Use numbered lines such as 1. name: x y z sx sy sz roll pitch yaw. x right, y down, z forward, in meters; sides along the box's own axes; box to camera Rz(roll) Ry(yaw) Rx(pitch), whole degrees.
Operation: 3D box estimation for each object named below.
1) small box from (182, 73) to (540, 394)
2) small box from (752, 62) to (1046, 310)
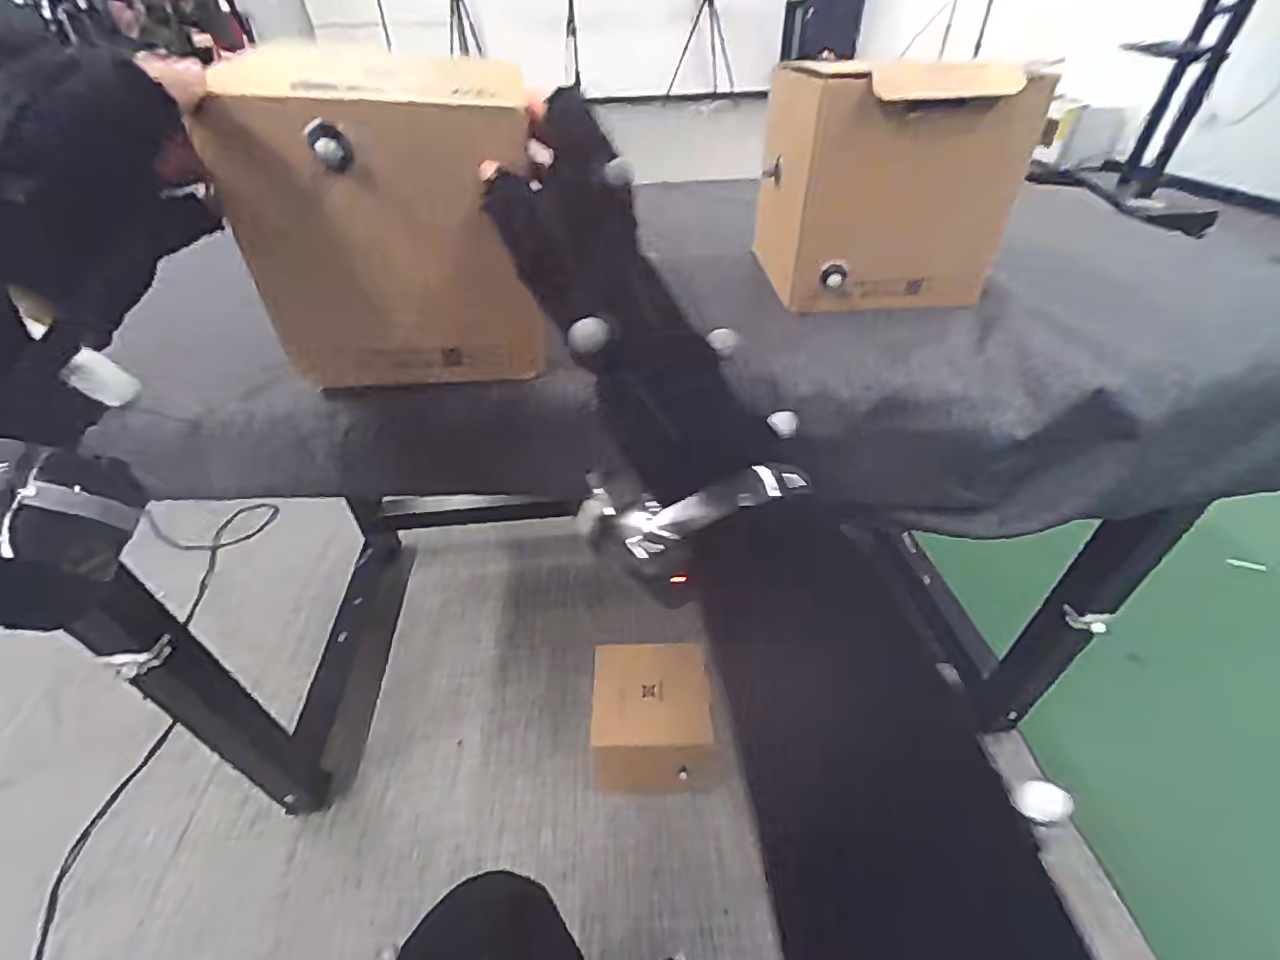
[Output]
1. small box: -0.163 -0.179 0.390 0.168 0.176 0.179 -5 42 -9
2. small box: 0.202 -0.261 0.486 0.168 0.176 0.179 -2 39 0
